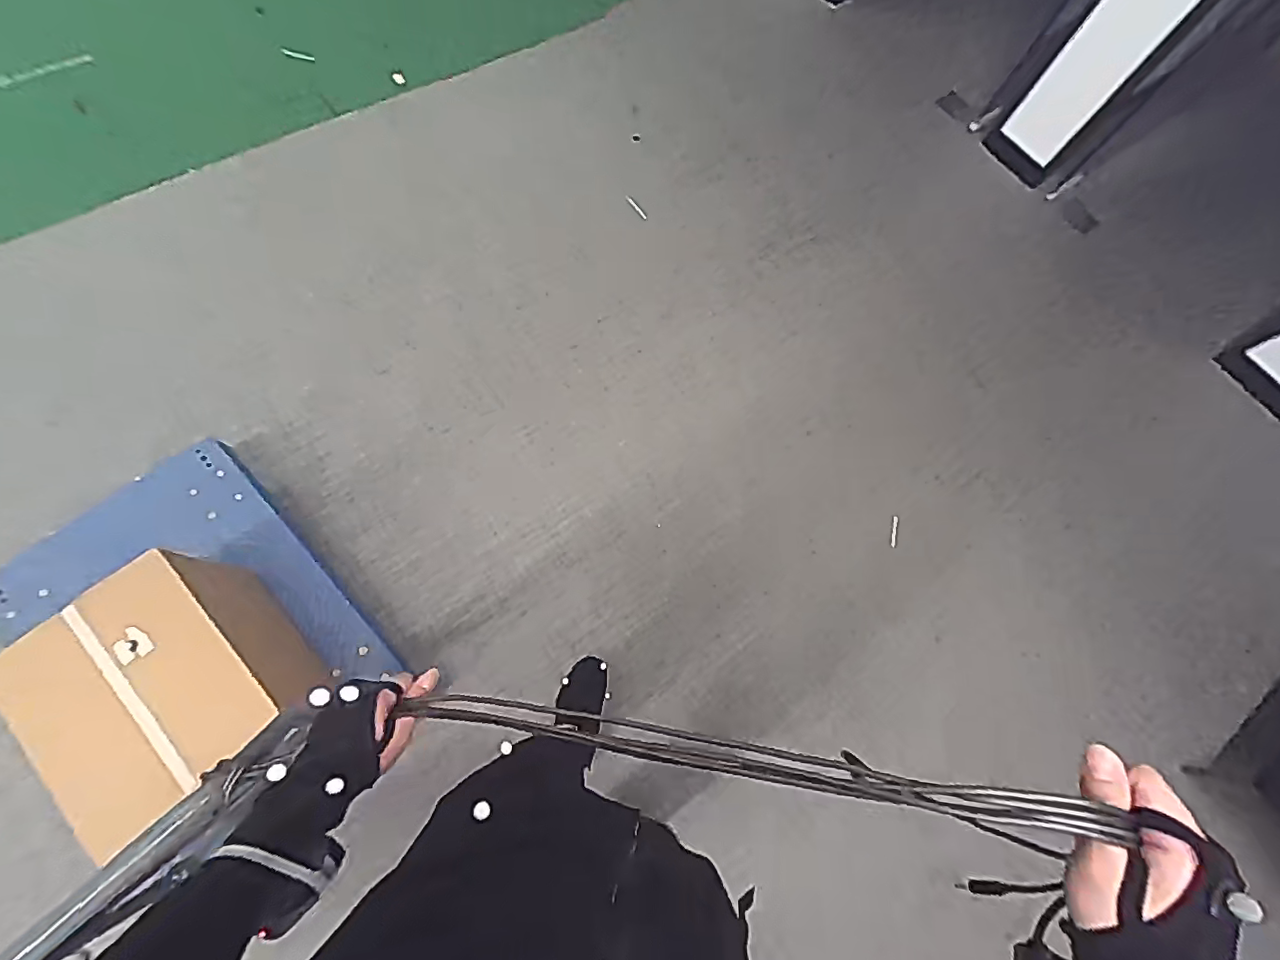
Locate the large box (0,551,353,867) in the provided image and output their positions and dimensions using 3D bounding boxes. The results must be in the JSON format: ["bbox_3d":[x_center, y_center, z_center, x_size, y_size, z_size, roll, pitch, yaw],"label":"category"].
[{"bbox_3d":[-0.852,0.407,1.034,0.320,0.320,0.408,-41,79,-17],"label":"large box"}]
